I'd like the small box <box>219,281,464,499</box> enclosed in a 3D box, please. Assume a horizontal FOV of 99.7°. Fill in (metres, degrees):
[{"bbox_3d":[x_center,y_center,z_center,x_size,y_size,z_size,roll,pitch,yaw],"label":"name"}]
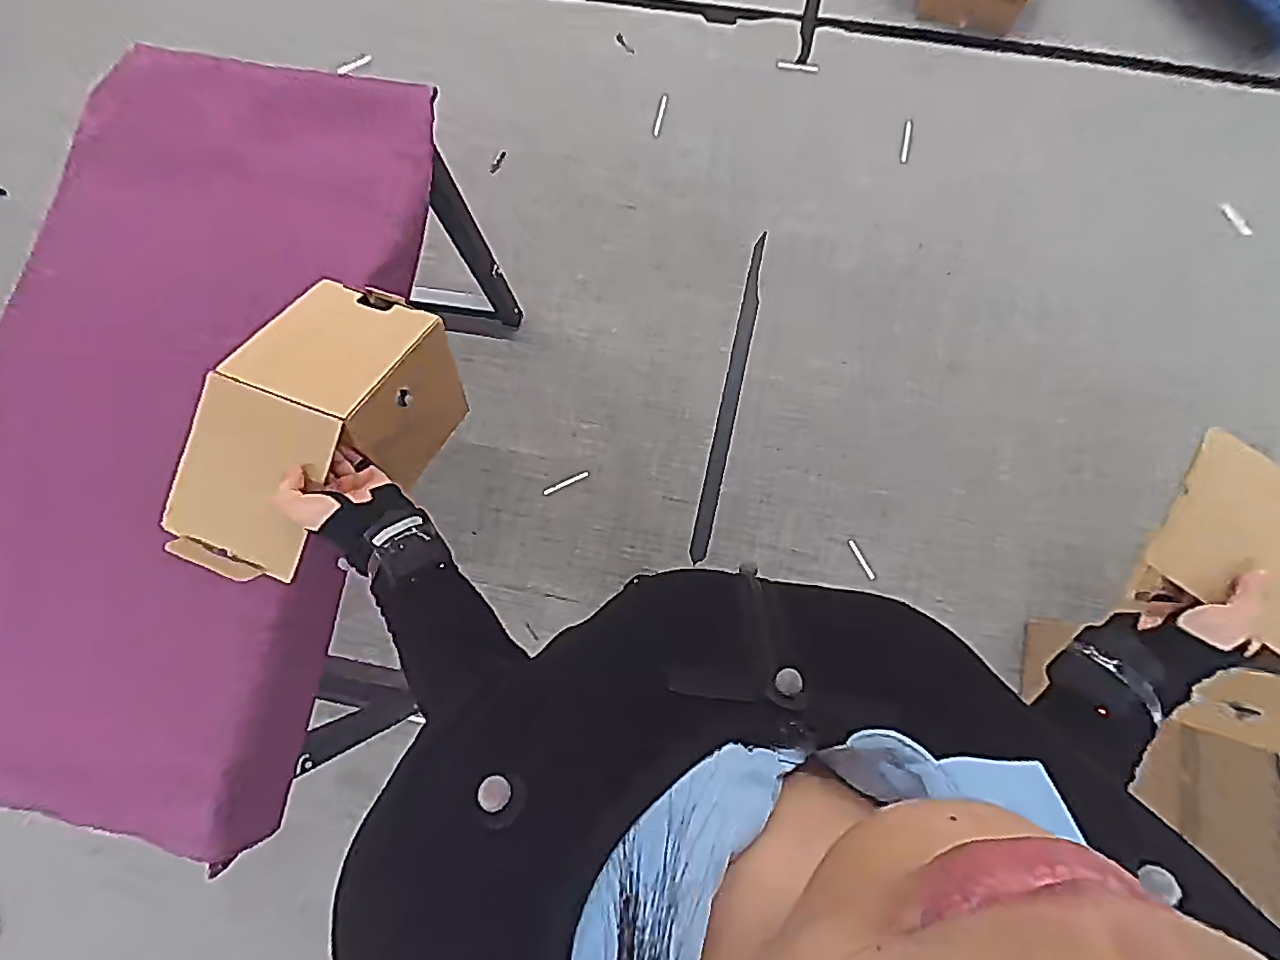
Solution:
[{"bbox_3d":[-0.339,-0.105,0.662,0.168,0.176,0.179,20,56,9],"label":"small box"}]
